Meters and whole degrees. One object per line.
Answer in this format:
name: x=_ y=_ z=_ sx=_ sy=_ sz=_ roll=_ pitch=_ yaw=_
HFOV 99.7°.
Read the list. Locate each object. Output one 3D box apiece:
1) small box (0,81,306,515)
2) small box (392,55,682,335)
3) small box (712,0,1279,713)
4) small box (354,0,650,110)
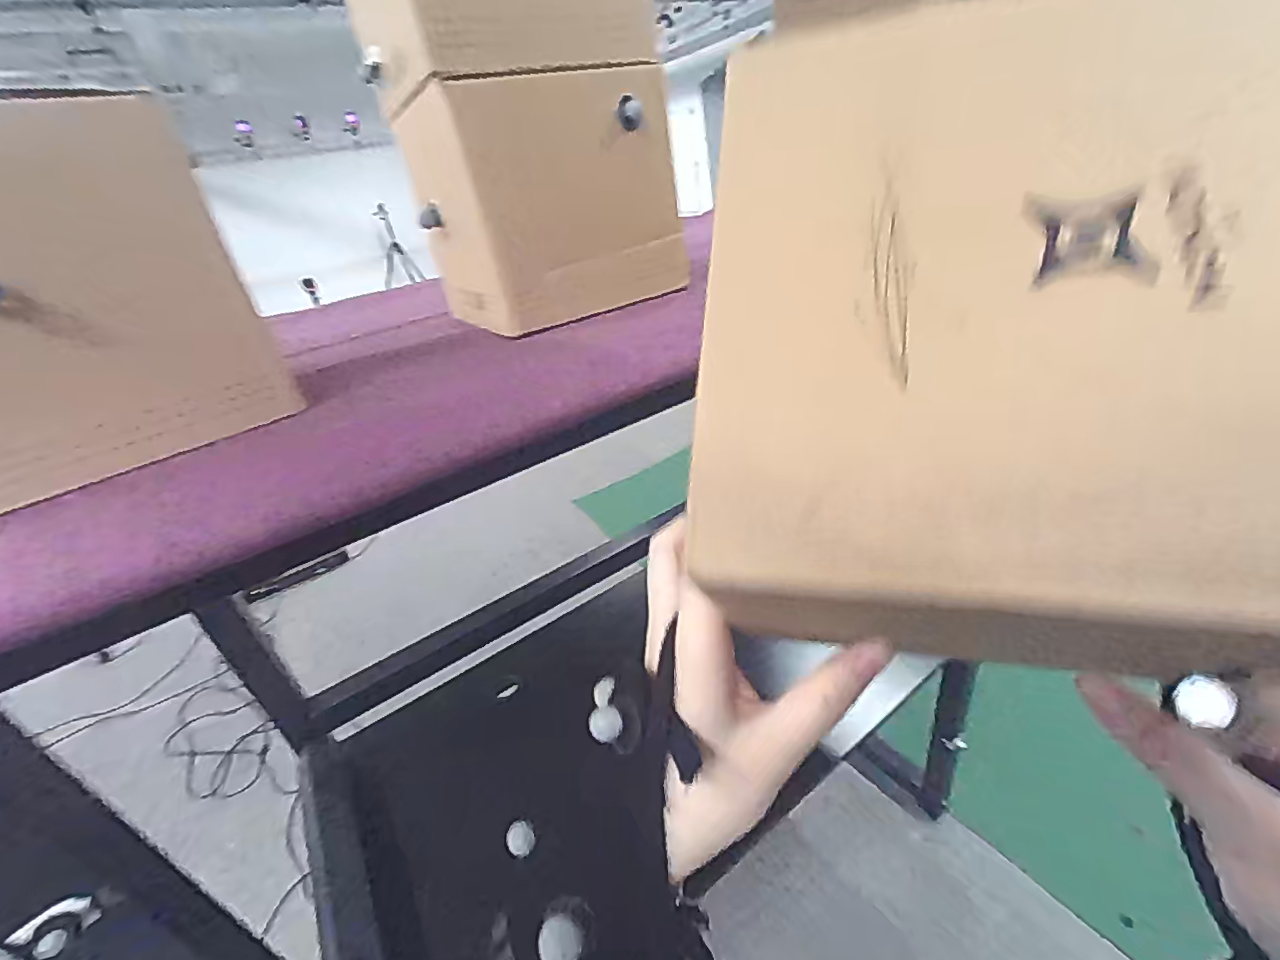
small box: x=-0.330 y=-0.097 z=0.300 sx=0.179 sy=0.176 sz=0.168 roll=-32 pitch=38 yaw=-33
small box: x=-0.082 y=-0.233 z=0.465 sx=0.179 sy=0.176 sz=0.168 roll=-25 pitch=32 yaw=-25
small box: x=0.130 y=-0.015 z=0.193 sx=0.179 sy=0.176 sz=0.168 roll=1 pitch=71 yaw=17
small box: x=-0.111 y=-0.377 z=0.390 sx=0.179 sy=0.176 sz=0.168 roll=-24 pitch=31 yaw=-25
